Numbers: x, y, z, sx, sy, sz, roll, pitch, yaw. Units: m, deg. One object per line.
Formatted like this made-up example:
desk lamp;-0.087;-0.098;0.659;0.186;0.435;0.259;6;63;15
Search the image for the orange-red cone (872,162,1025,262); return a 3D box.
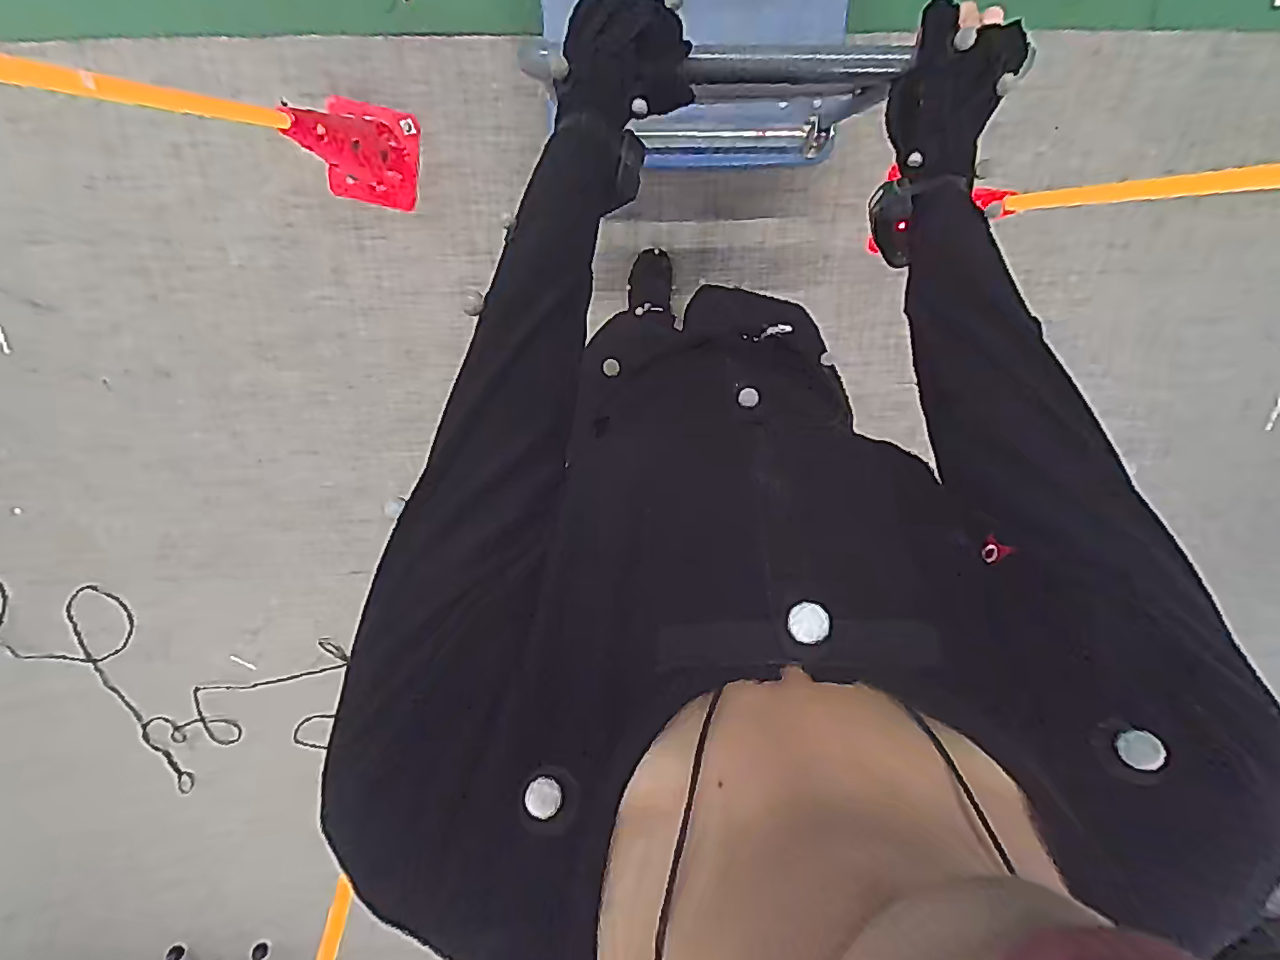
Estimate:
orange-red cone;0.683;-0.578;1.150;0.198;0.360;0.199;9;113;-5
